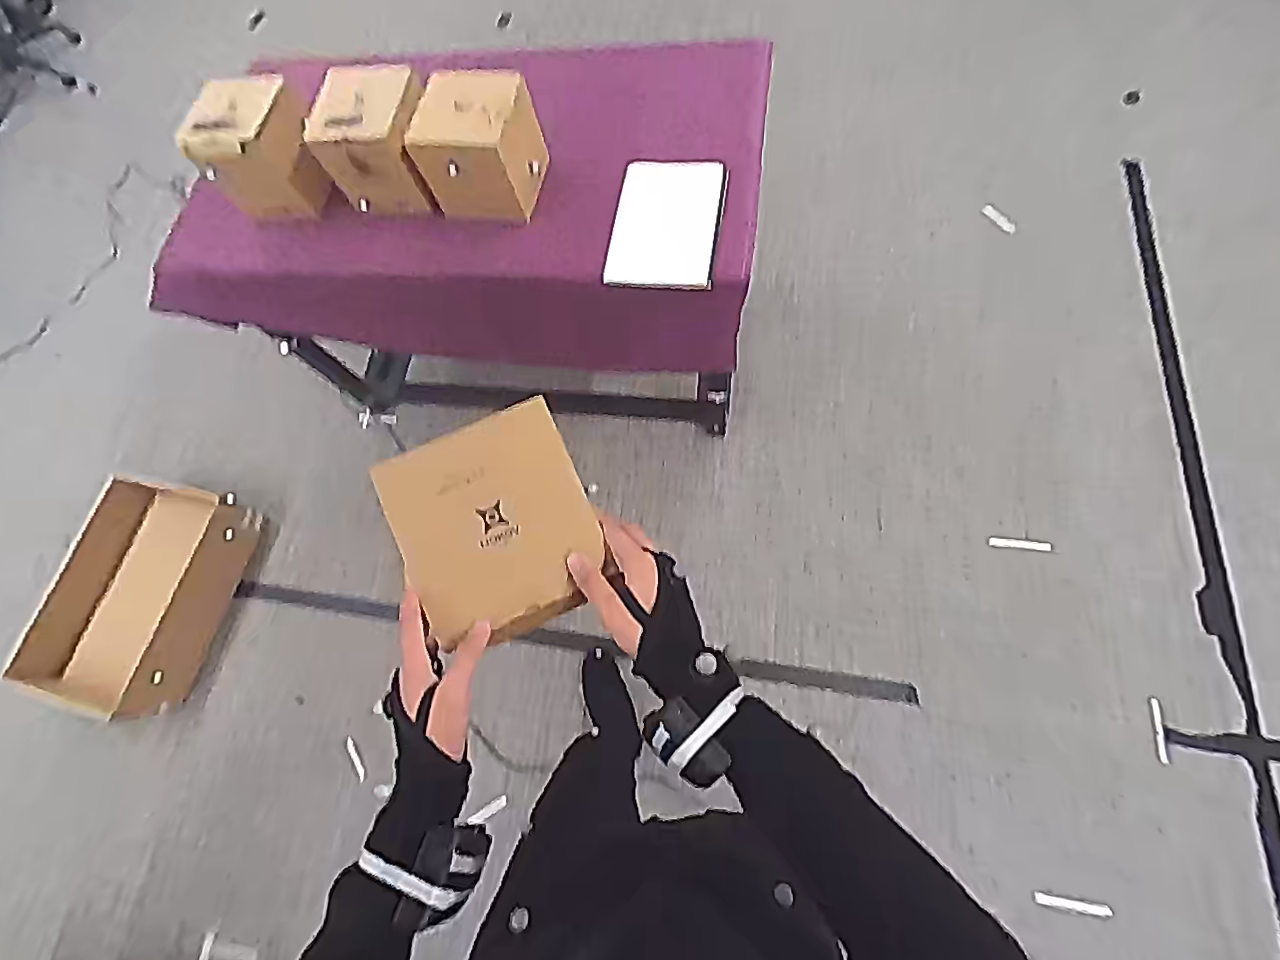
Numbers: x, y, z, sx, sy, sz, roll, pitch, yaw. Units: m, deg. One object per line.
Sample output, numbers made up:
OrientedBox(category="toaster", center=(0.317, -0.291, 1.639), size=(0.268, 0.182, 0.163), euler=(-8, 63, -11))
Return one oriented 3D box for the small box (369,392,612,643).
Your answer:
OrientedBox(category="small box", center=(-0.133, 0.038, 0.550), size=(0.168, 0.176, 0.179), euler=(-24, 84, -6))
